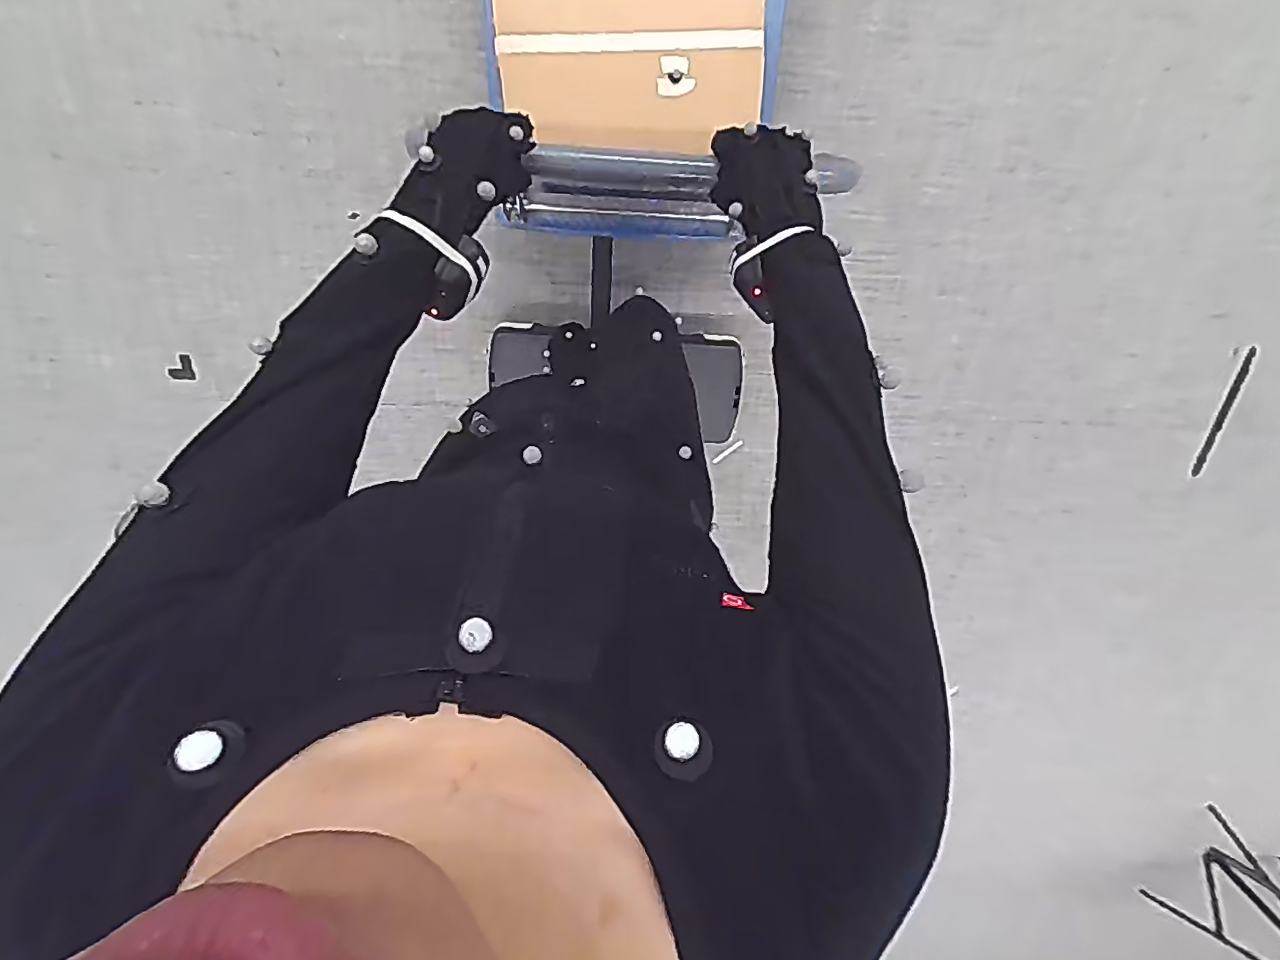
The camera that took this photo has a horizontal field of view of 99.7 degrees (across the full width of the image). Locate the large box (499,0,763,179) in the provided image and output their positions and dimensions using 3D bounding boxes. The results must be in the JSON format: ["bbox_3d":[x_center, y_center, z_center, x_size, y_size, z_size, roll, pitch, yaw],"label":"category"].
[{"bbox_3d":[-0.019,-0.736,0.964,0.408,0.320,0.320,-3,115,-2],"label":"large box"}]
